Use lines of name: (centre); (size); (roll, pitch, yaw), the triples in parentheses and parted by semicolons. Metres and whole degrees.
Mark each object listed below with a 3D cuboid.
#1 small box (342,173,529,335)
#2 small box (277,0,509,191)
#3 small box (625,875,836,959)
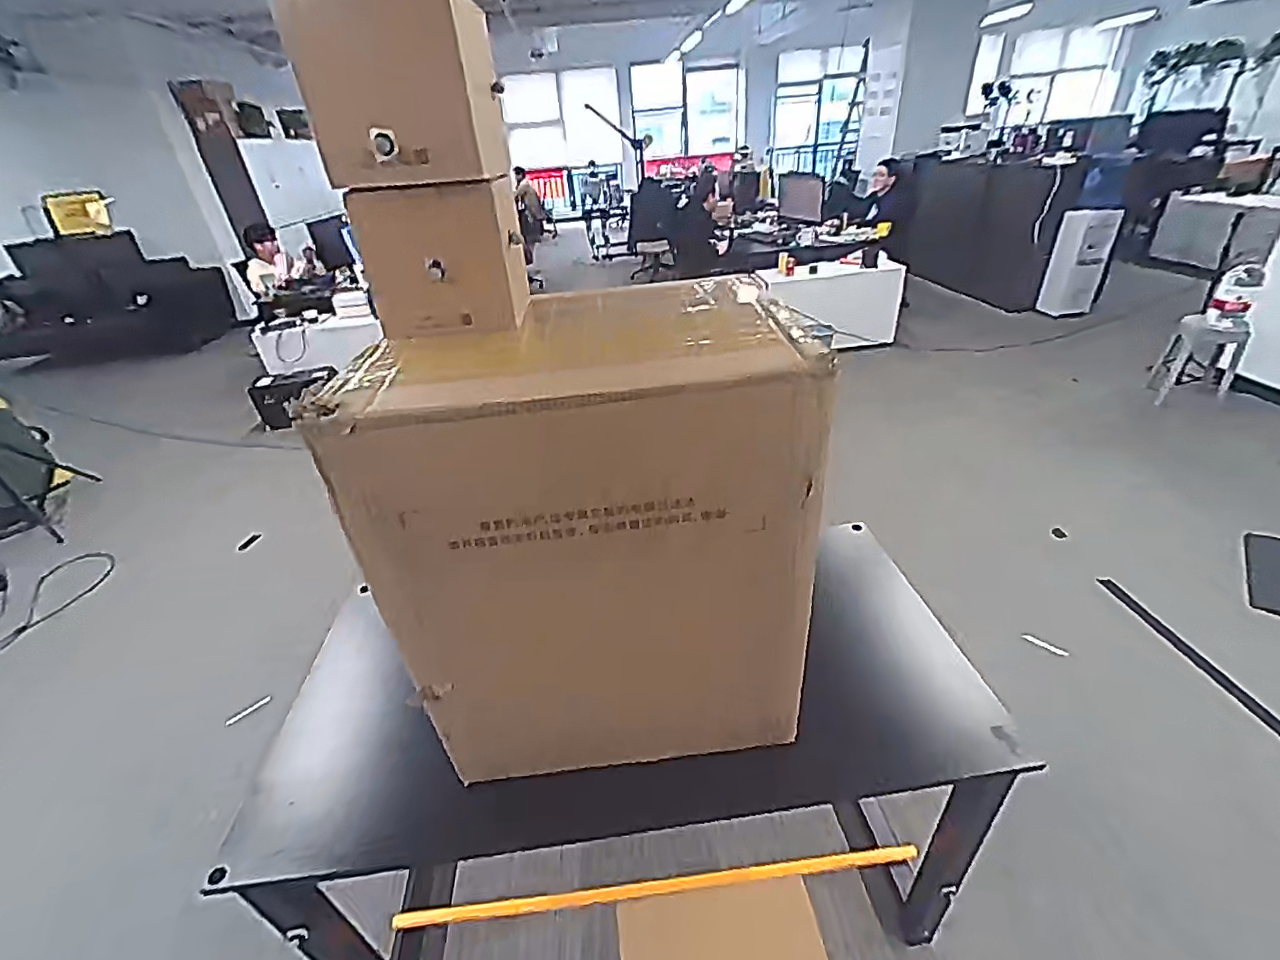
small box: (-0.242, -0.289, 0.695); (0.168, 0.176, 0.179); (-6, 32, -3)
small box: (-0.250, -0.421, 0.597); (0.168, 0.176, 0.179); (-6, 32, 0)
small box: (0.079, 0.464, 0.436); (0.168, 0.176, 0.179); (-7, 34, -3)
